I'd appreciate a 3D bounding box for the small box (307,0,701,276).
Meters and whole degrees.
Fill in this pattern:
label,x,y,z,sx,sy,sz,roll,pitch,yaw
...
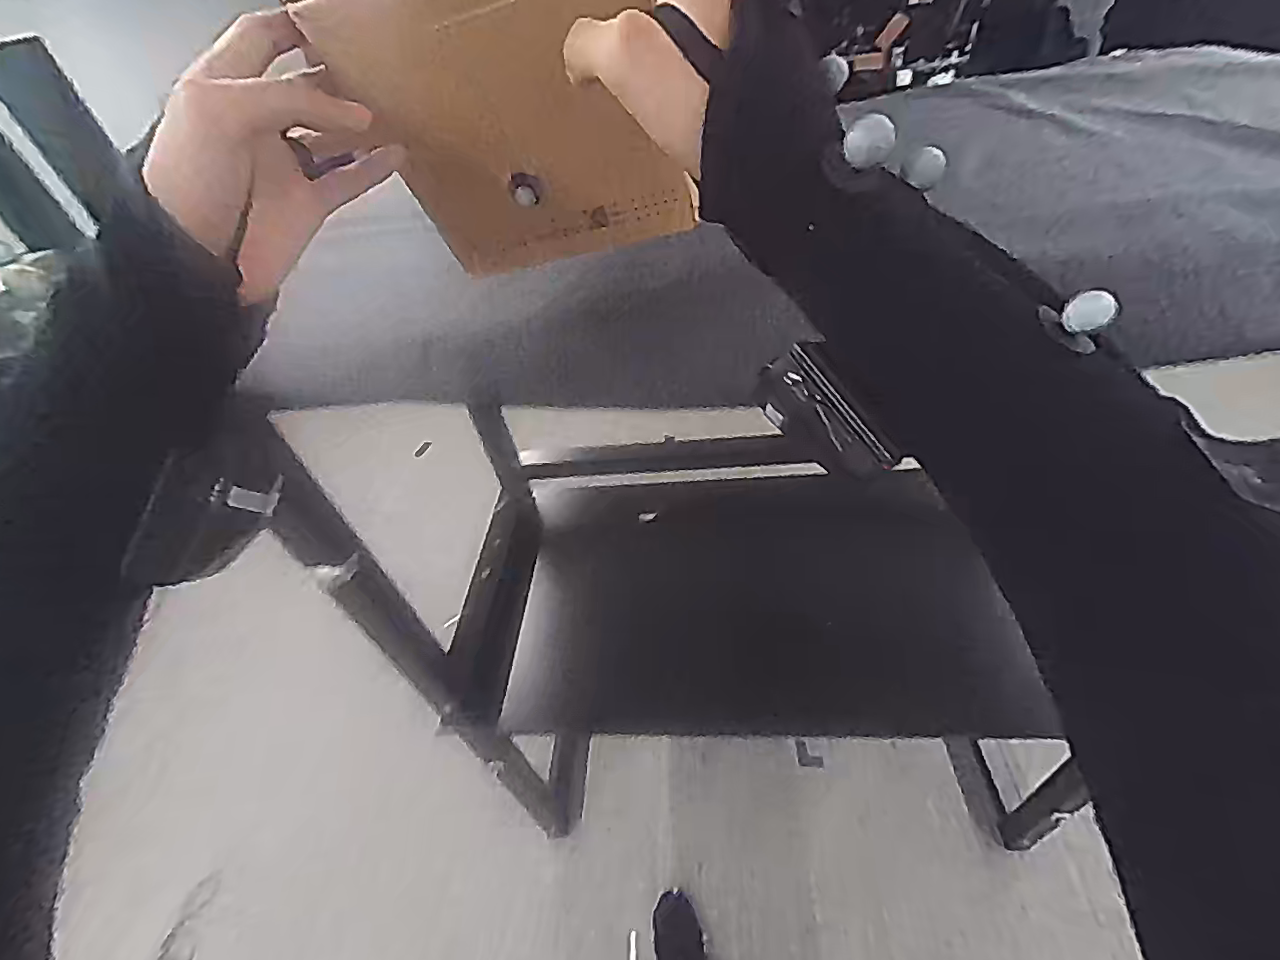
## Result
label,x,y,z,sx,sy,sz,roll,pitch,yaw
small box,-0.058,-0.265,0.343,0.168,0.176,0.179,-8,61,13
